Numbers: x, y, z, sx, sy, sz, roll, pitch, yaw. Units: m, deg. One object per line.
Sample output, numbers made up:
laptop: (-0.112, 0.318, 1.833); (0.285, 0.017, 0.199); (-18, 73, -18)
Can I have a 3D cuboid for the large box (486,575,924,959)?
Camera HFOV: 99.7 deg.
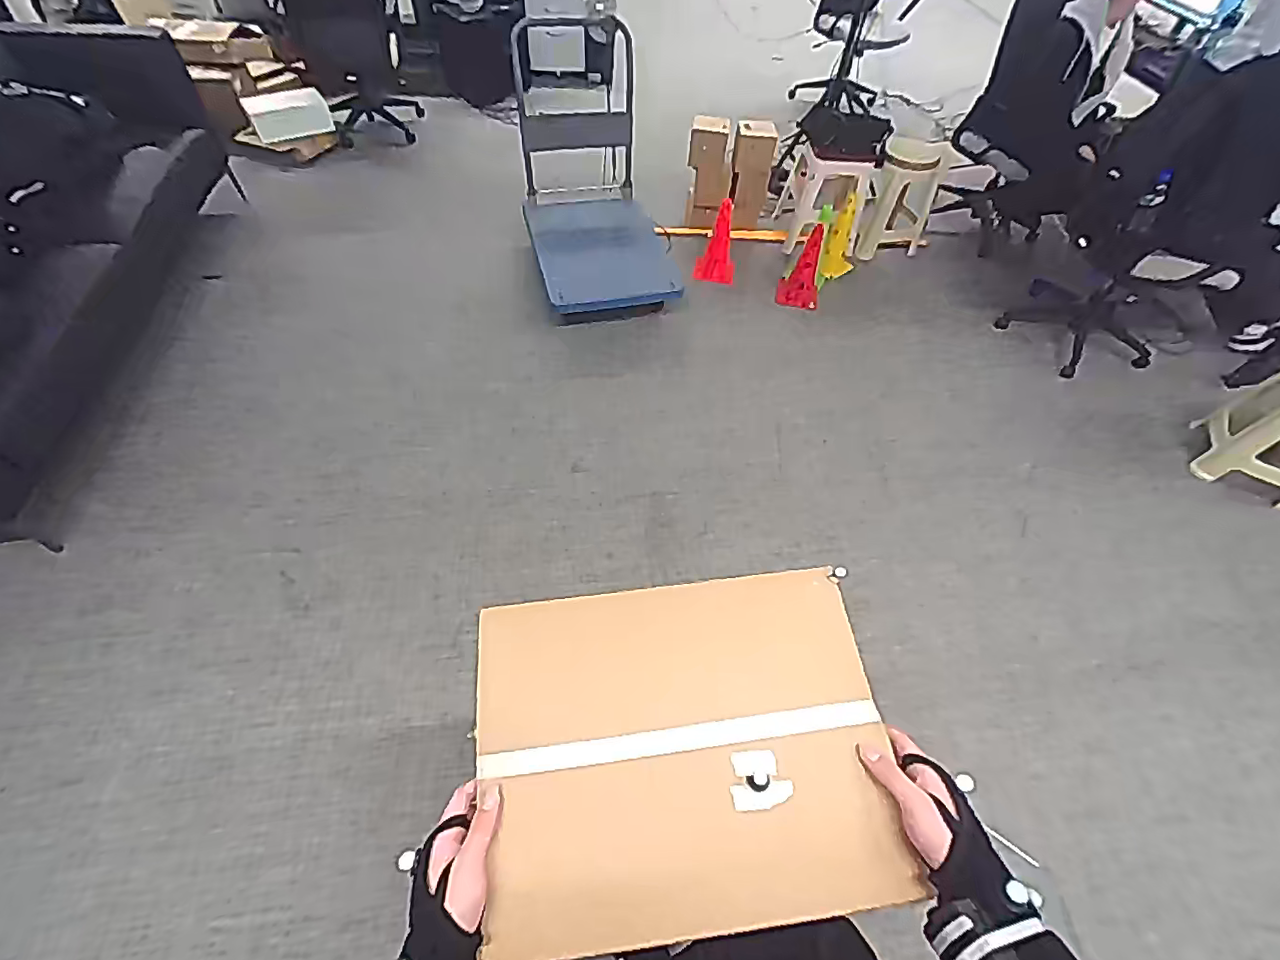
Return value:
large box: (0.043, 0.342, 0.680); (0.408, 0.320, 0.320); (-7, 62, -4)
